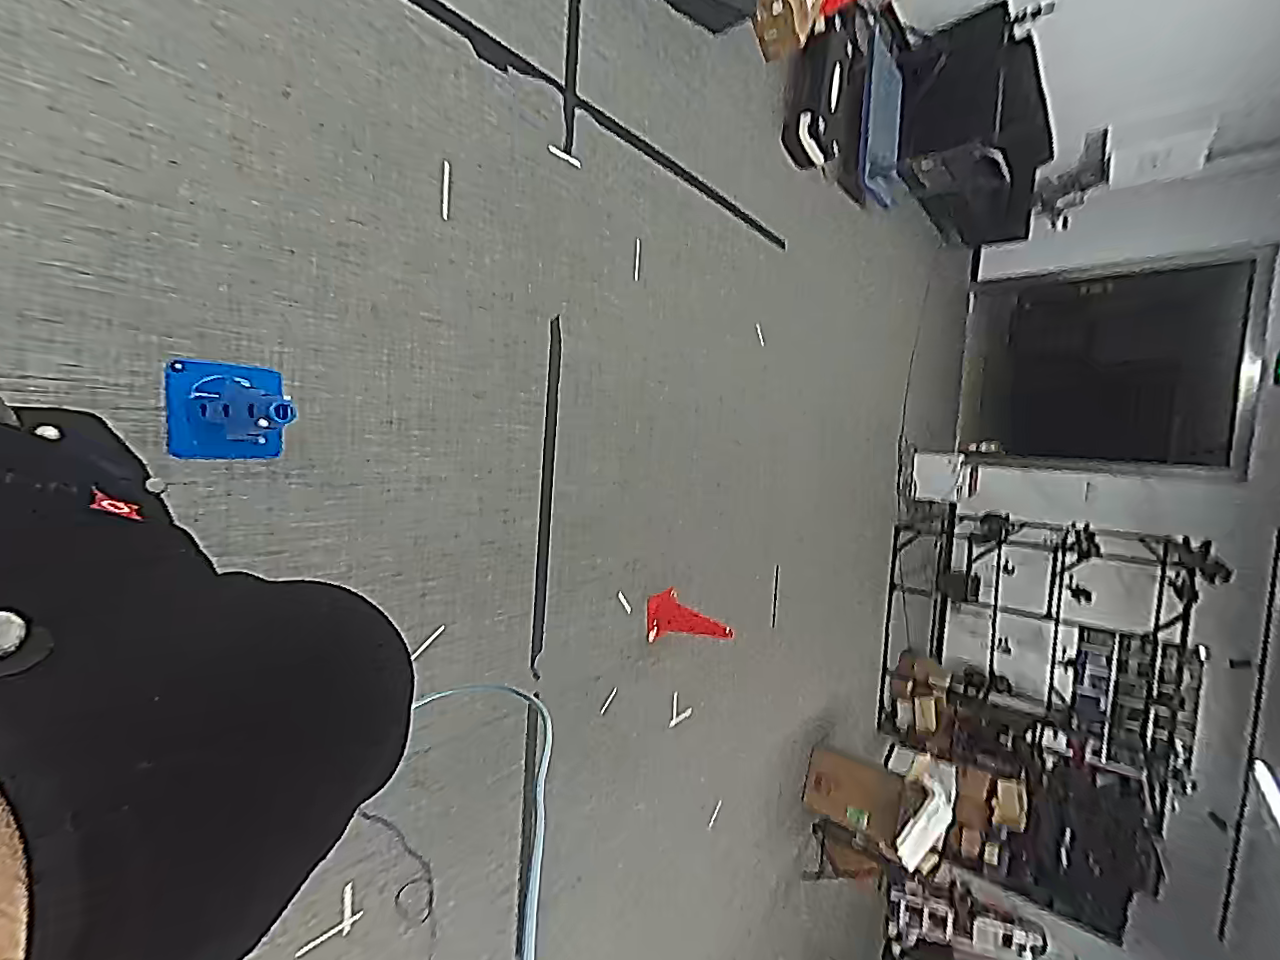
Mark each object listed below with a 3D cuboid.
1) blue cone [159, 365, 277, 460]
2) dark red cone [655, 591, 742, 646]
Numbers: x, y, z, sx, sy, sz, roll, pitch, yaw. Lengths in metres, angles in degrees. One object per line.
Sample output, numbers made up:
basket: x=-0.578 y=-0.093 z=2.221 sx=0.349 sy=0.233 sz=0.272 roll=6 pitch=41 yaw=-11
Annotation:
blue cone: x=-0.747 y=-0.122 z=1.013 sx=0.192 sy=0.380 sz=0.193 roll=0 pitch=95 yaw=-49
dark red cone: x=0.250 y=0.616 z=2.262 sx=0.201 sy=0.394 sz=0.202 roll=-12 pitch=105 yaw=-47
